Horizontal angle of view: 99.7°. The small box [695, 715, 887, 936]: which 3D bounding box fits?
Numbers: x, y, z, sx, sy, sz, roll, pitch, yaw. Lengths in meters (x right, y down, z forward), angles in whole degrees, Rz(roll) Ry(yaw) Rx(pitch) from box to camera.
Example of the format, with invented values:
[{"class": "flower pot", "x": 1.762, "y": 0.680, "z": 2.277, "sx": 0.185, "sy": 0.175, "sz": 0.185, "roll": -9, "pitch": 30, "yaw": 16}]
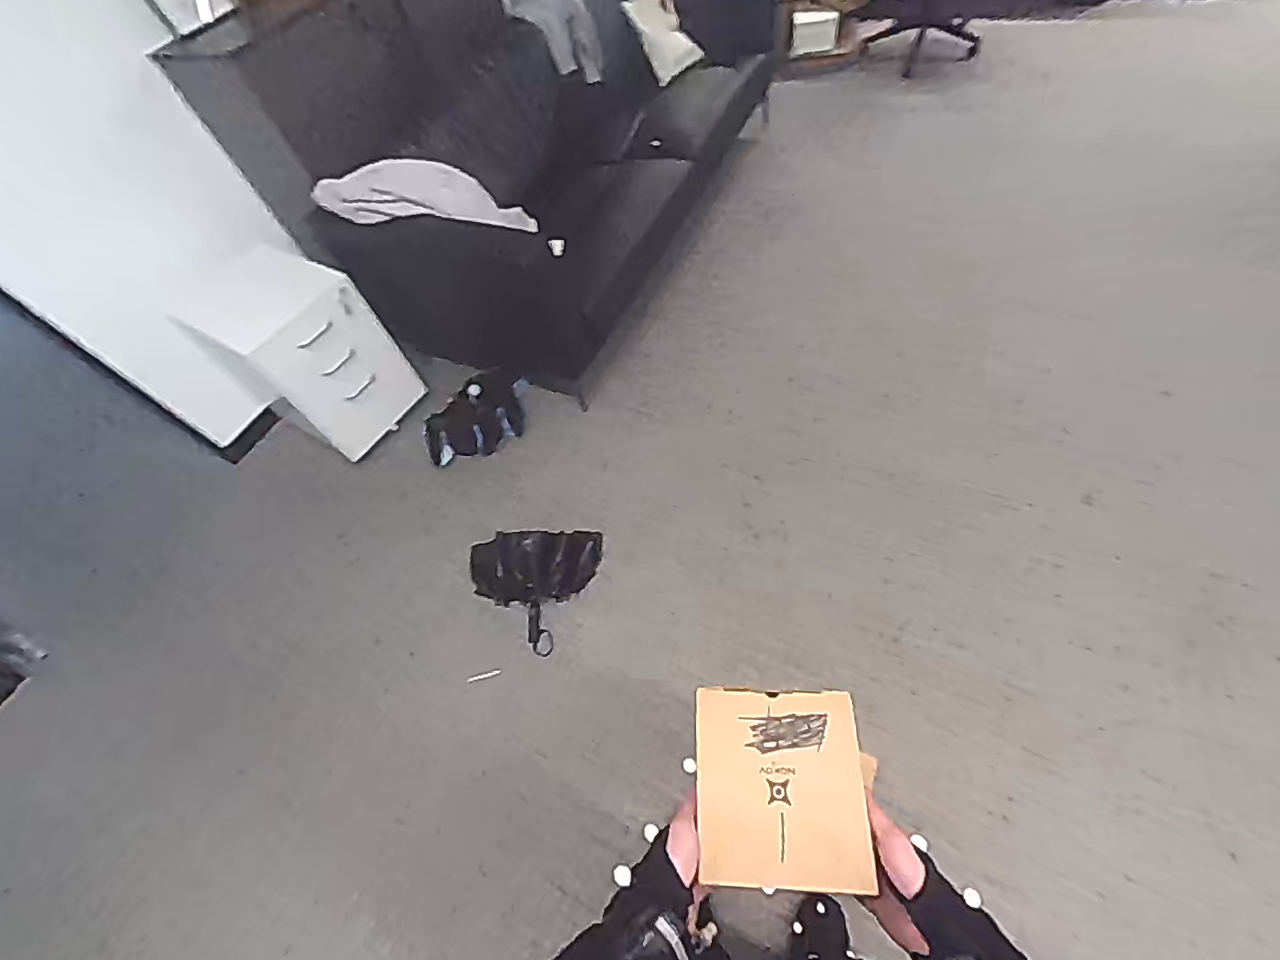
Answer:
[{"class": "small box", "x": 0.144, "y": 0.360, "z": 0.586, "sx": 0.168, "sy": 0.176, "sz": 0.179, "roll": -2, "pitch": 61, "yaw": 6}]
